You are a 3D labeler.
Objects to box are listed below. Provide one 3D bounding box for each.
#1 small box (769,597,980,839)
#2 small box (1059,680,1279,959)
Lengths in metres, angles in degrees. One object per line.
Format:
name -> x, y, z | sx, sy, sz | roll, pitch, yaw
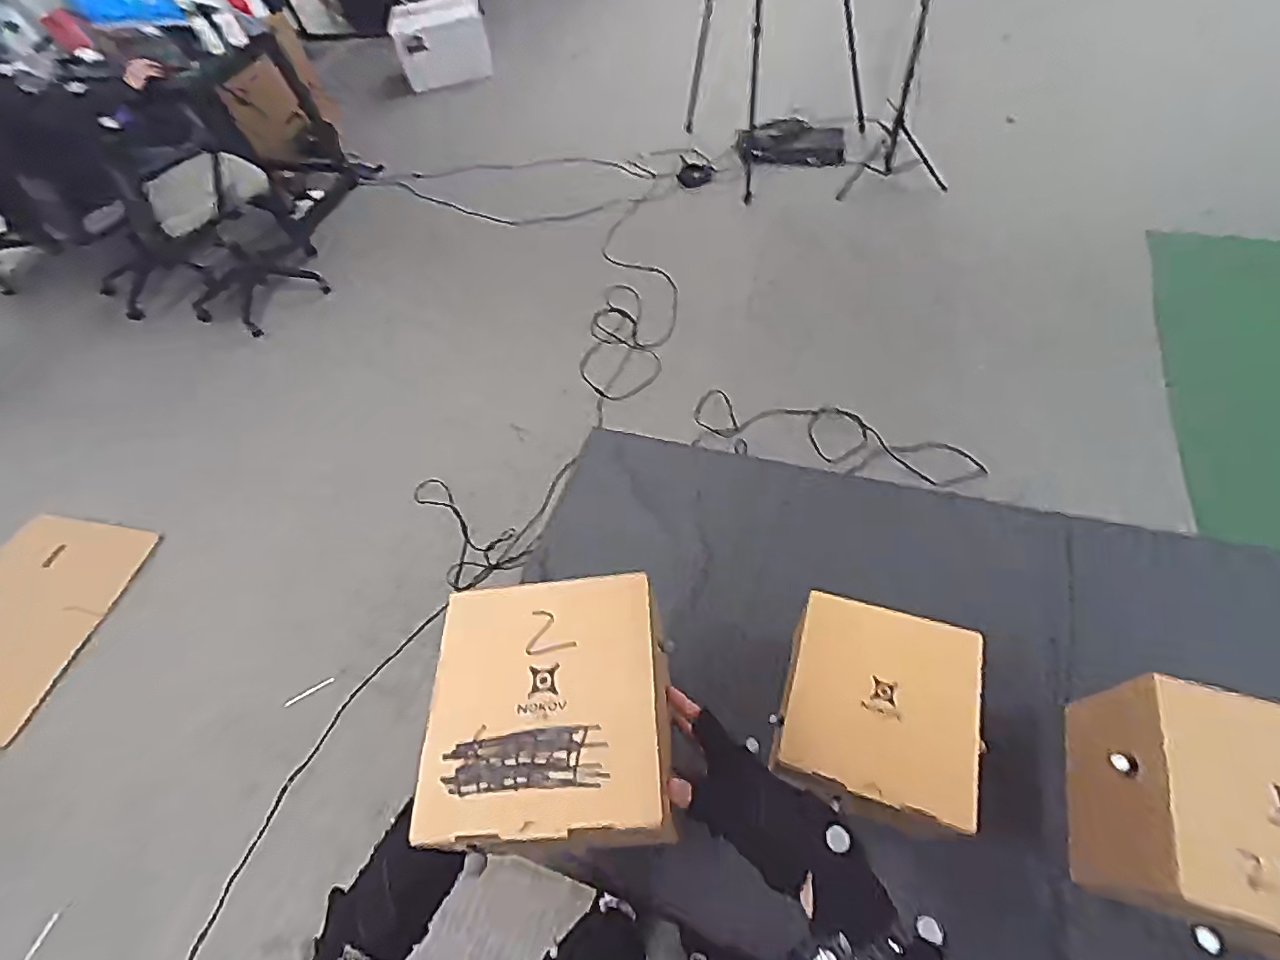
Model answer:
small box -> 0.240, 0.255, 0.579 | 0.168, 0.176, 0.179 | 13, 60, 16
small box -> 0.520, 0.313, 0.496 | 0.168, 0.176, 0.179 | 13, 60, 17
